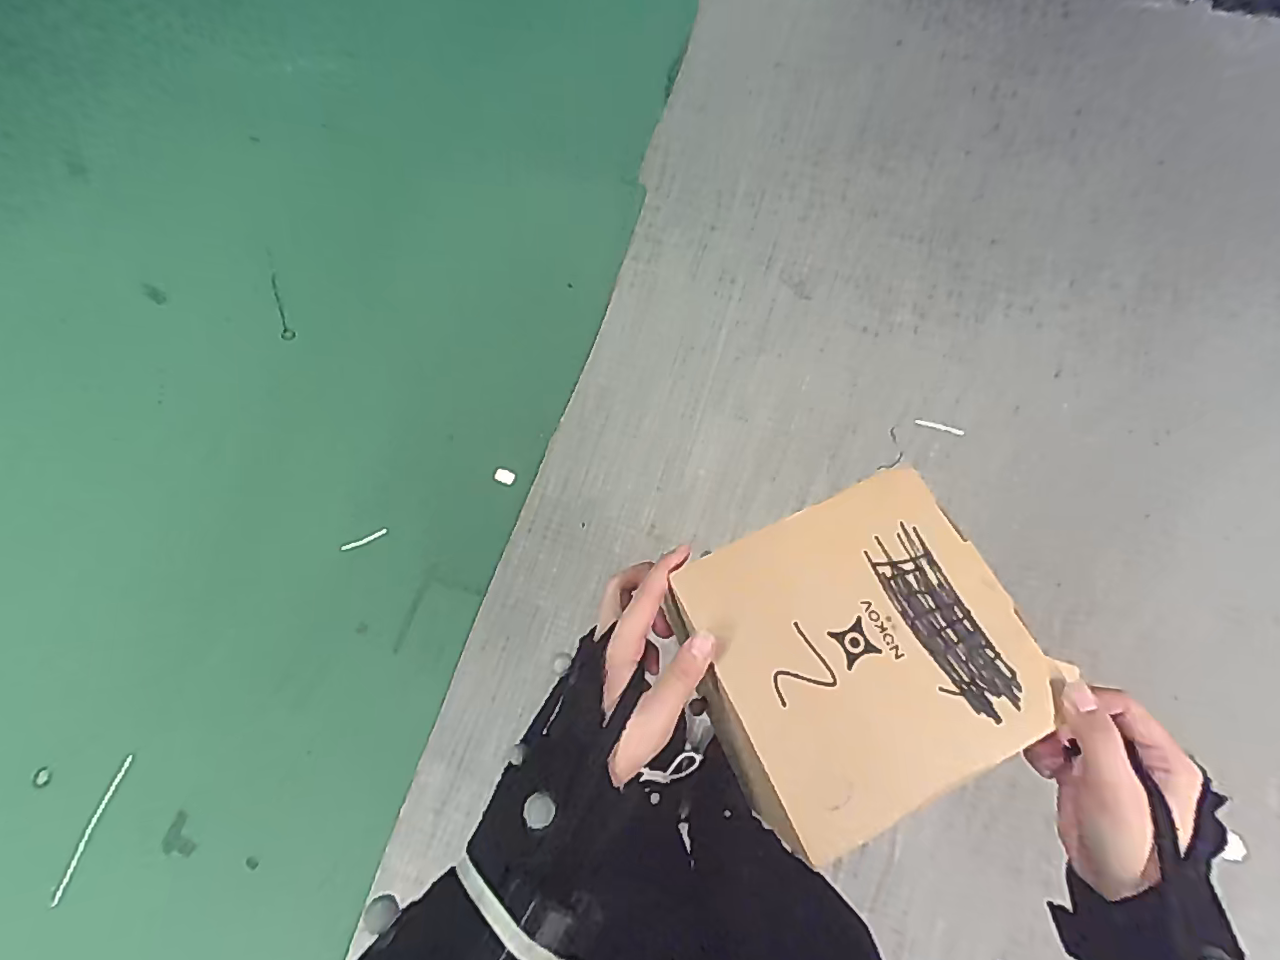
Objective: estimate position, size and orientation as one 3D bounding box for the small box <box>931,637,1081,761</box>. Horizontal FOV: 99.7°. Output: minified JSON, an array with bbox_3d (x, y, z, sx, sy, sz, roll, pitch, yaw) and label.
[{"bbox_3d":[0.682,0.404,1.026,0.179,0.176,0.168,14,76,8],"label":"small box"}]
